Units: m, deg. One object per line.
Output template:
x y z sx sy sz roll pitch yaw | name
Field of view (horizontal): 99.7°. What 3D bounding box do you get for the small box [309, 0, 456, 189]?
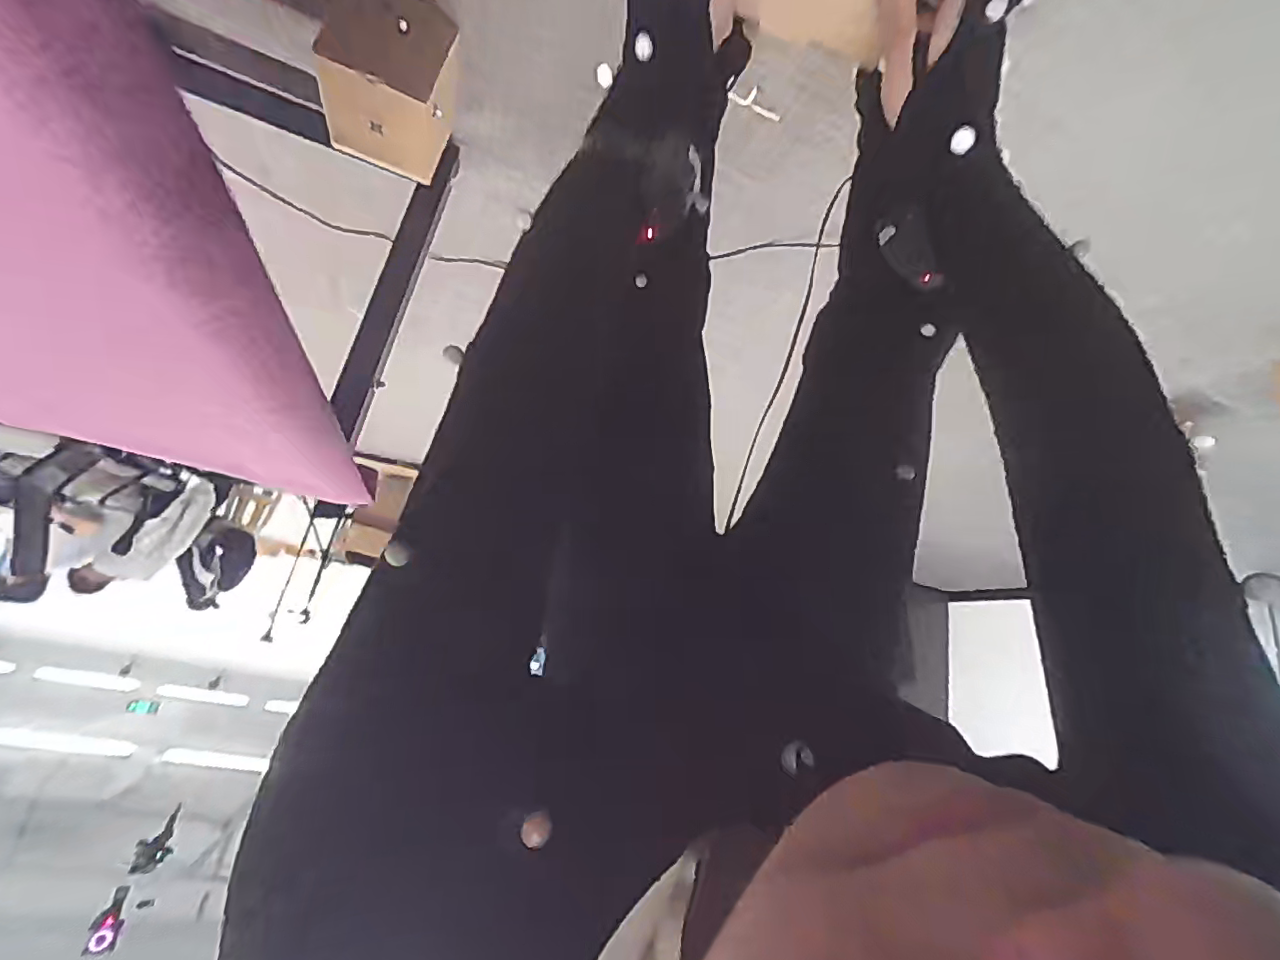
-0.411 -0.638 0.894 0.168 0.176 0.179 17 160 -15 | small box
